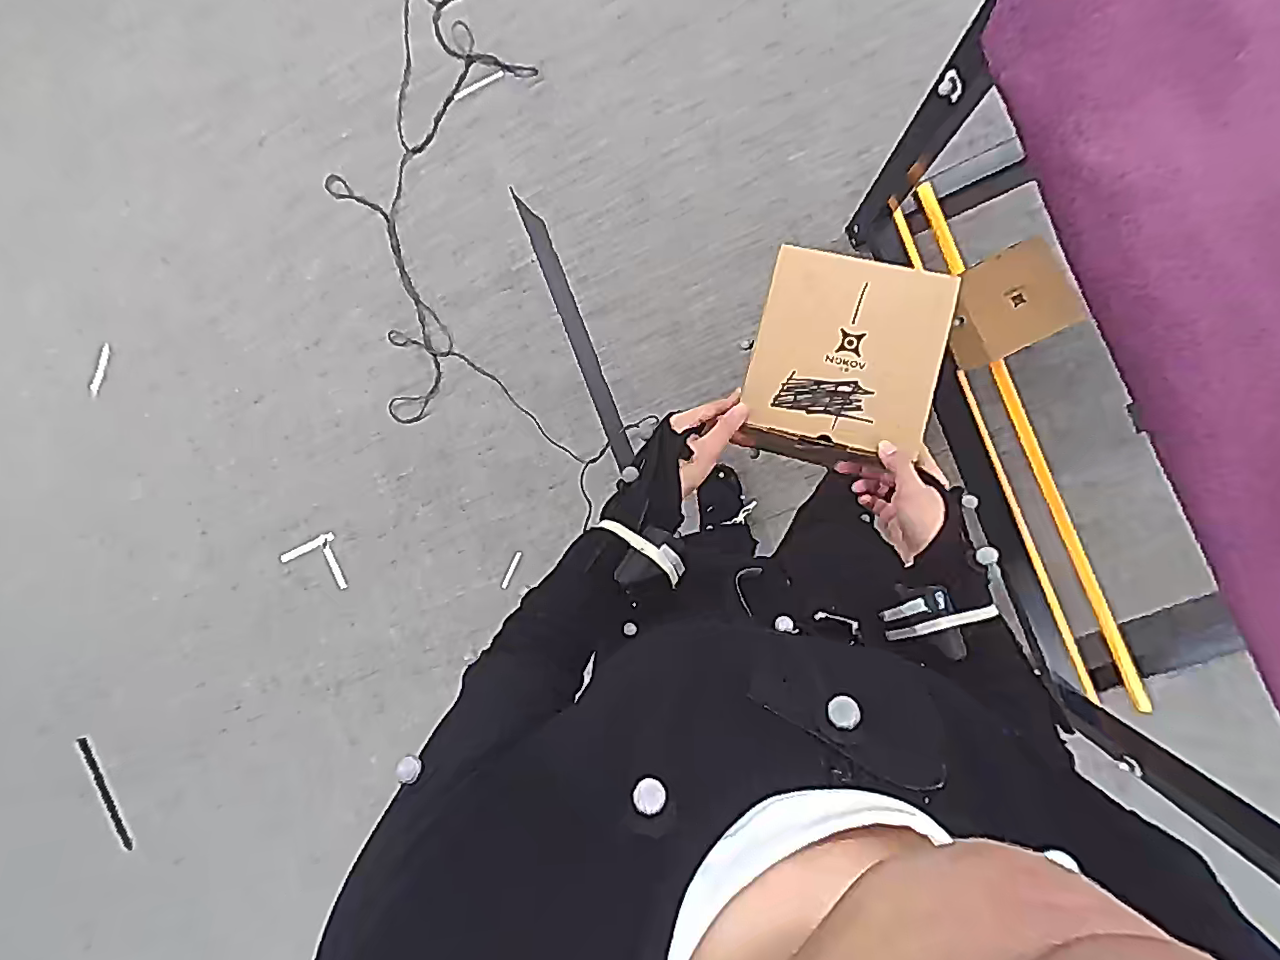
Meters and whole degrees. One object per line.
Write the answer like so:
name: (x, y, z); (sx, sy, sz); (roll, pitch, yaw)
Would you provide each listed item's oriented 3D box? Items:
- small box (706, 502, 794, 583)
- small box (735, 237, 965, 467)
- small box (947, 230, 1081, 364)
small box: (0.243, 0.136, 1.230); (0.179, 0.176, 0.168); (0, 91, 5)
small box: (0.200, -0.117, 0.567); (0.168, 0.176, 0.179); (14, 88, 7)
small box: (0.685, -0.339, 1.048); (0.168, 0.176, 0.179); (-27, 89, 10)
